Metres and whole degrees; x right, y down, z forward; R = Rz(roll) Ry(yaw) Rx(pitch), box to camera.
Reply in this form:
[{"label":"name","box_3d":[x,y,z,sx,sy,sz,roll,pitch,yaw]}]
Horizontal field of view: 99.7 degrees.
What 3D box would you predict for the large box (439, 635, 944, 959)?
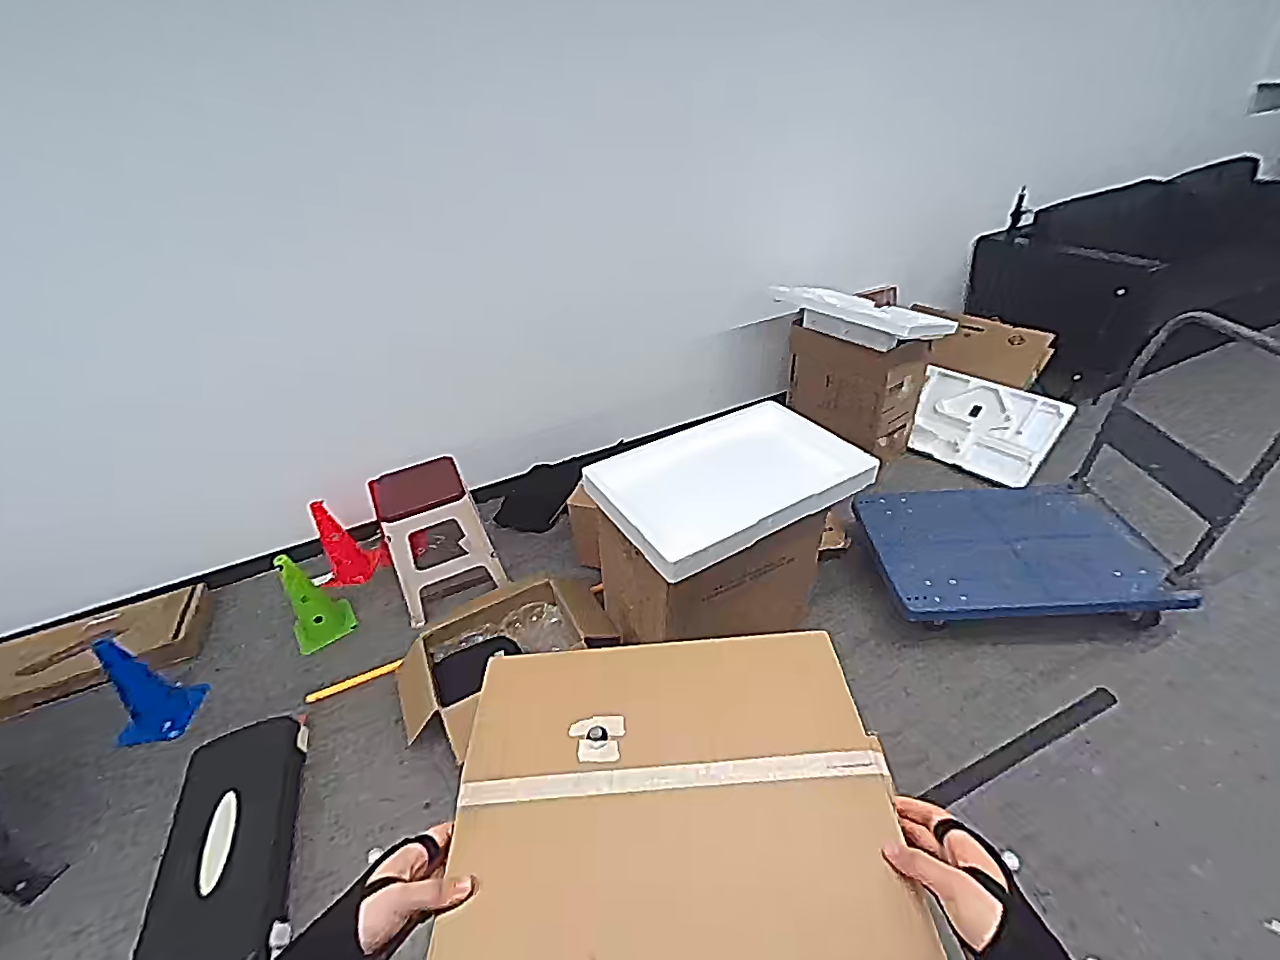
[{"label":"large box","box_3d":[0.046,0.416,0.617,0.408,0.320,0.320,-7,36,3]}]
